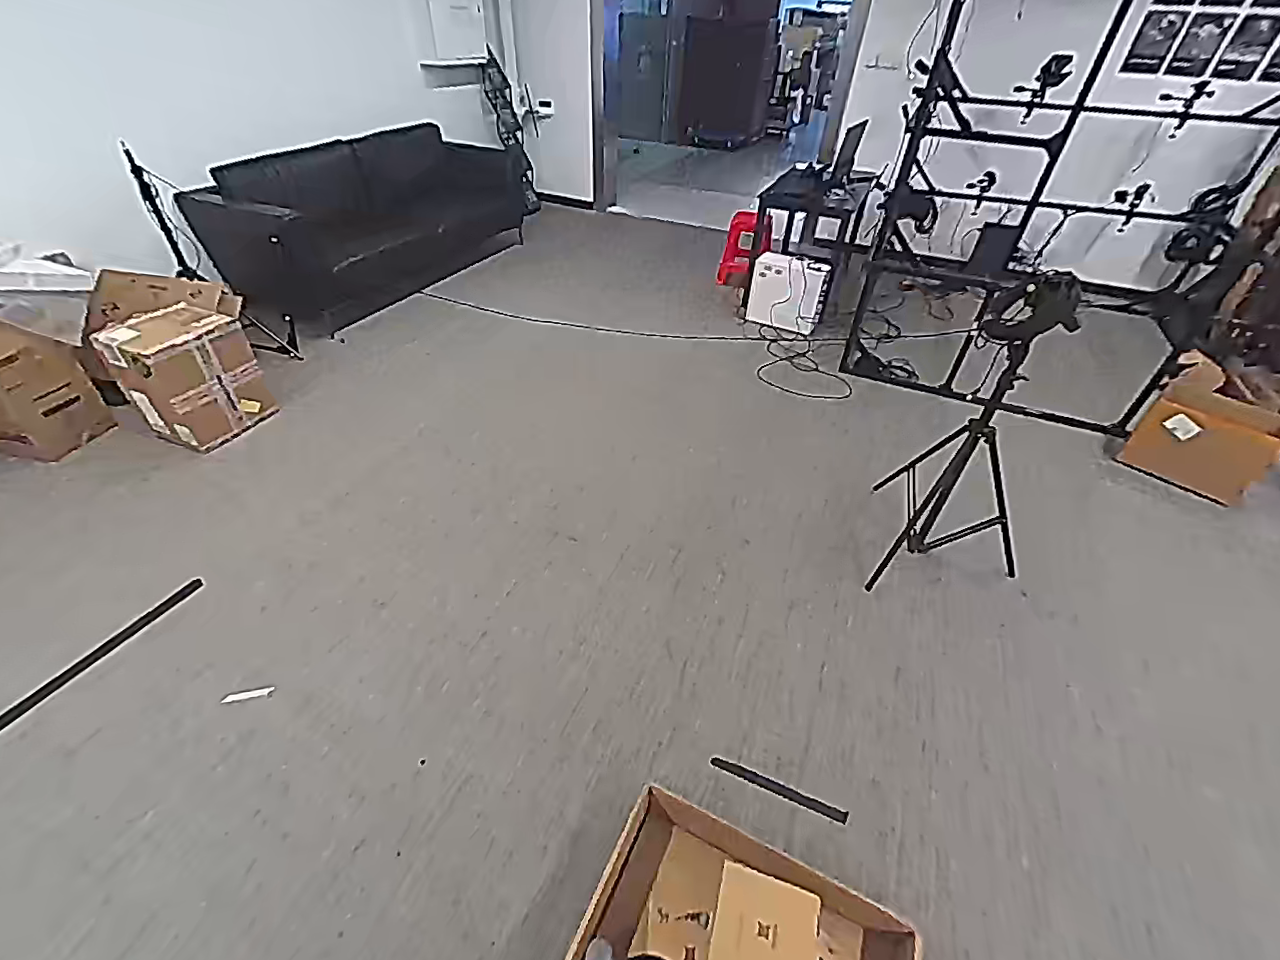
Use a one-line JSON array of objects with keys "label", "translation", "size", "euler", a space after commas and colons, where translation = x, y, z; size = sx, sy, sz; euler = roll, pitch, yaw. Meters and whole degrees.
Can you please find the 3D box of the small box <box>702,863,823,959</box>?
[{"label": "small box", "translation": [0.212, 0.828, 0.961], "size": [0.179, 0.176, 0.168], "euler": [13, 39, 13]}]
